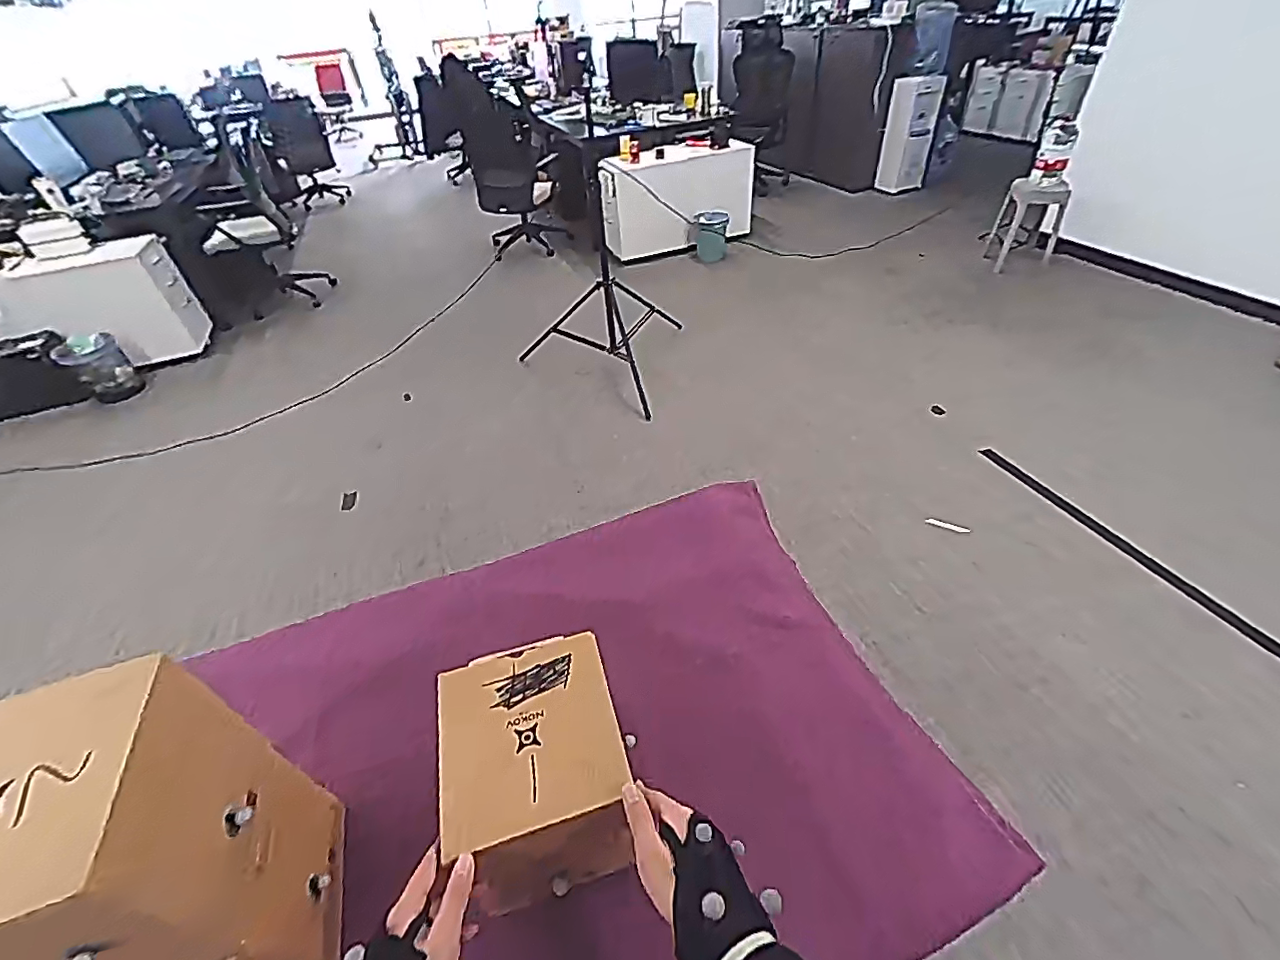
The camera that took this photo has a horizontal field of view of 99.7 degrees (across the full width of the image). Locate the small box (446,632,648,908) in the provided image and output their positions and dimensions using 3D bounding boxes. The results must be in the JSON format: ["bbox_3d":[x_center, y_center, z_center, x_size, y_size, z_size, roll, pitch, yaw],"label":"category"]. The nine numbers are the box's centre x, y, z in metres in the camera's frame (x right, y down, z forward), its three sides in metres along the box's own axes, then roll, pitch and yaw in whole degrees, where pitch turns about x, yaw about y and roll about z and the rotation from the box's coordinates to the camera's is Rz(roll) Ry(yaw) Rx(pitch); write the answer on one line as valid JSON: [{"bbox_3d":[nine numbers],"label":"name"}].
[{"bbox_3d":[-0.095,0.295,0.561,0.168,0.176,0.179,-14,40,-10],"label":"small box"}]

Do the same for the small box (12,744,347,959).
[{"bbox_3d":[-0.400,0.388,0.500,0.179,0.176,0.168,-17,42,-14],"label":"small box"}]
